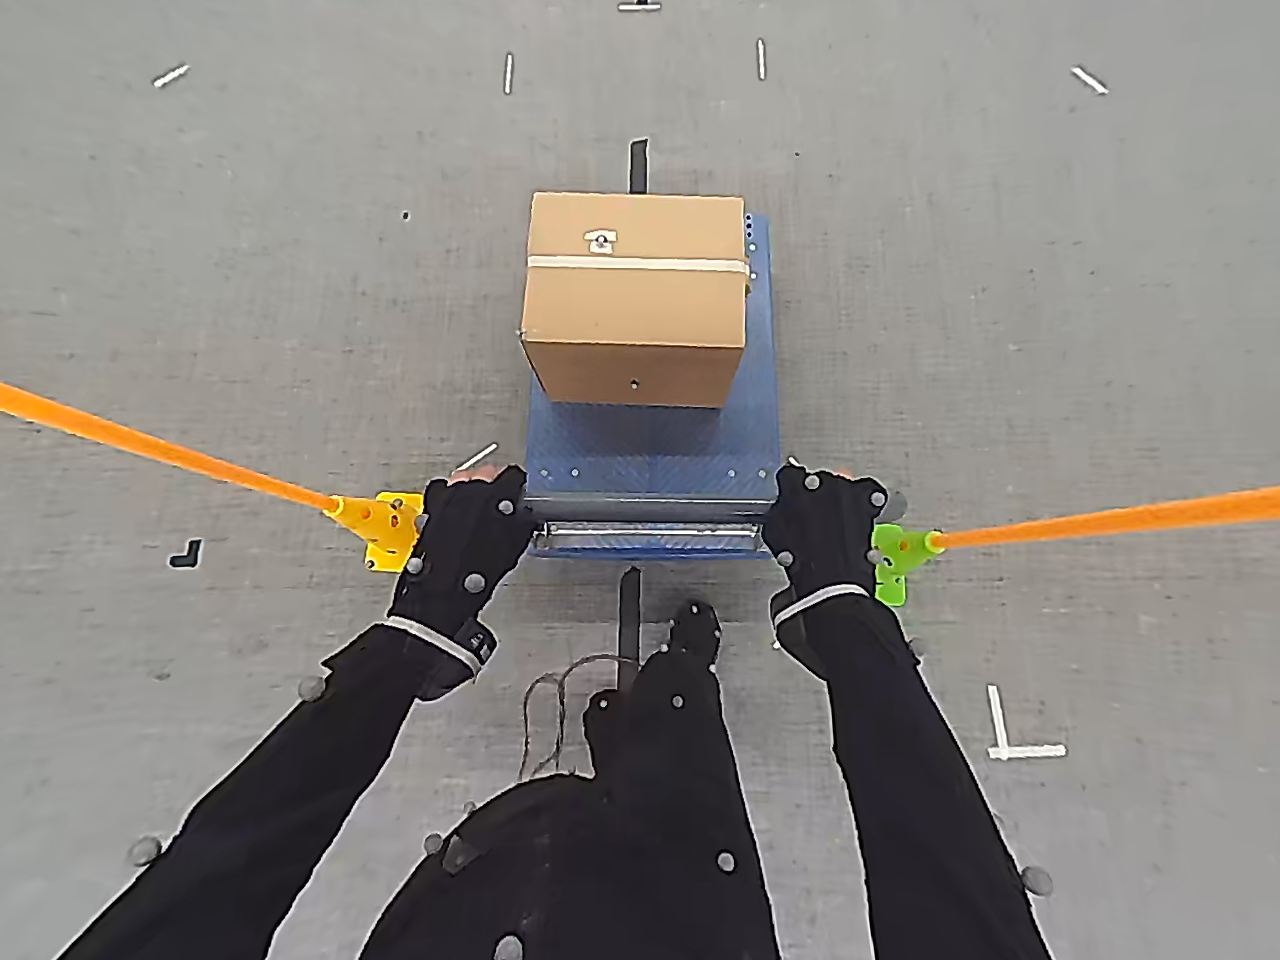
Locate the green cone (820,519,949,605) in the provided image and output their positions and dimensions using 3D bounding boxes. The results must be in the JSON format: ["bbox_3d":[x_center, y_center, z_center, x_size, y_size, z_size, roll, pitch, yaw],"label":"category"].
[{"bbox_3d":[0.548,0.161,1.174,0.202,0.368,0.200,4,76,1],"label":"green cone"}]

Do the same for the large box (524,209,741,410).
[{"bbox_3d":[-0.006,-0.344,1.160,0.408,0.320,0.320,2,77,2],"label":"large box"}]
